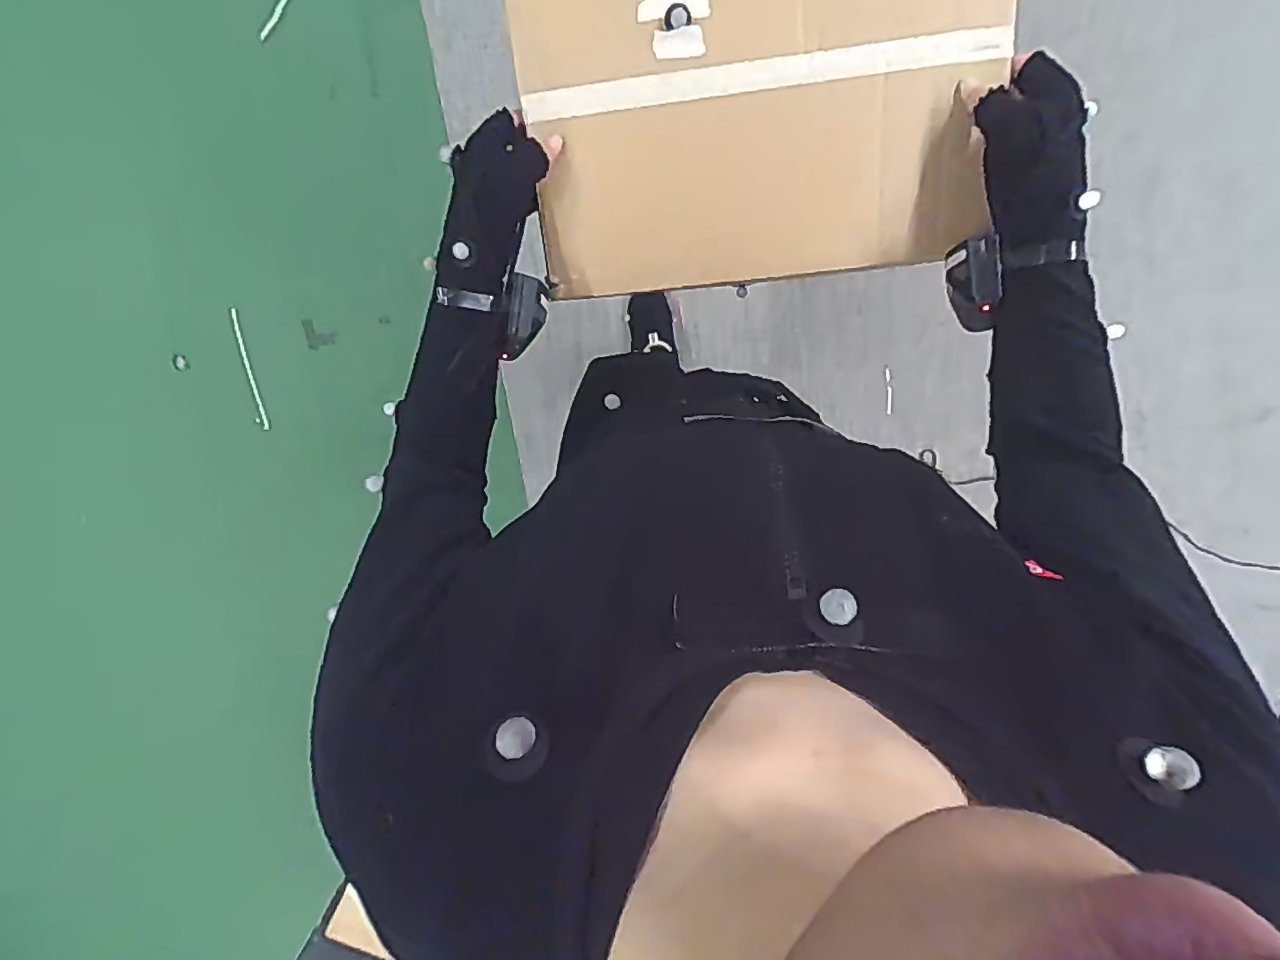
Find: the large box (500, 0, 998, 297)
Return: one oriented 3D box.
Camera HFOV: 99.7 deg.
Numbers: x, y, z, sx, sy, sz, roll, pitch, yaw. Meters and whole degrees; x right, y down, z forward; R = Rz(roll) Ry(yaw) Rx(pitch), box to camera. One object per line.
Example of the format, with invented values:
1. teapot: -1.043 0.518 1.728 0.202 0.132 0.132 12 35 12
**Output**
1. large box: 0.099 -0.387 0.593 0.408 0.320 0.320 -4 108 5
